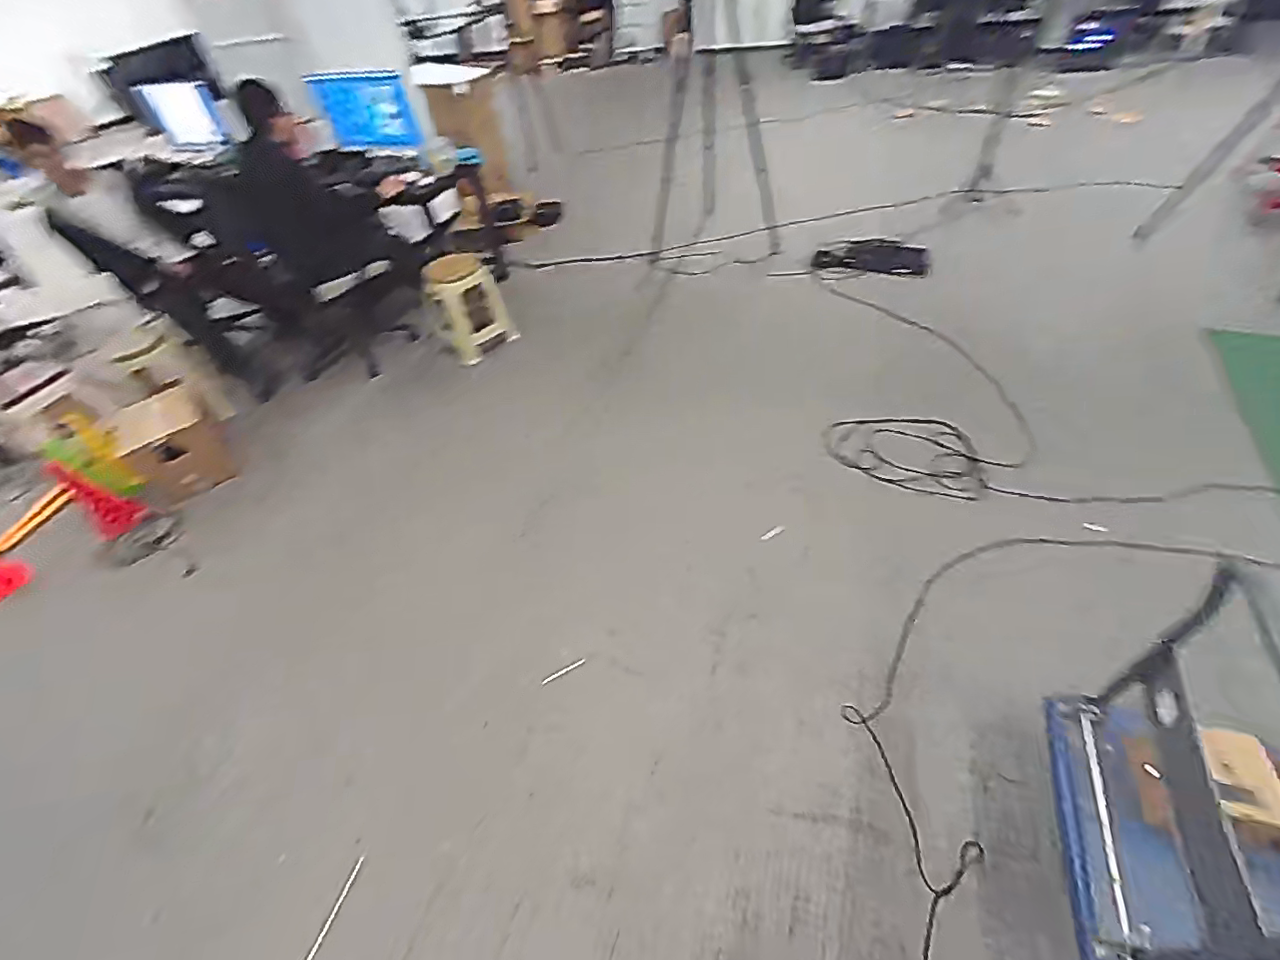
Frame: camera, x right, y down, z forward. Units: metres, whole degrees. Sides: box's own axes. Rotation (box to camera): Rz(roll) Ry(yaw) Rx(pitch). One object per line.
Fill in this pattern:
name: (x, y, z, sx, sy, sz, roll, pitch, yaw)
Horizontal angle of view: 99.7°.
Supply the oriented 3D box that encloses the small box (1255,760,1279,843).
small box: (1.409, 0.666, 1.078, 0.168, 0.176, 0.179, 10, 50, 17)
